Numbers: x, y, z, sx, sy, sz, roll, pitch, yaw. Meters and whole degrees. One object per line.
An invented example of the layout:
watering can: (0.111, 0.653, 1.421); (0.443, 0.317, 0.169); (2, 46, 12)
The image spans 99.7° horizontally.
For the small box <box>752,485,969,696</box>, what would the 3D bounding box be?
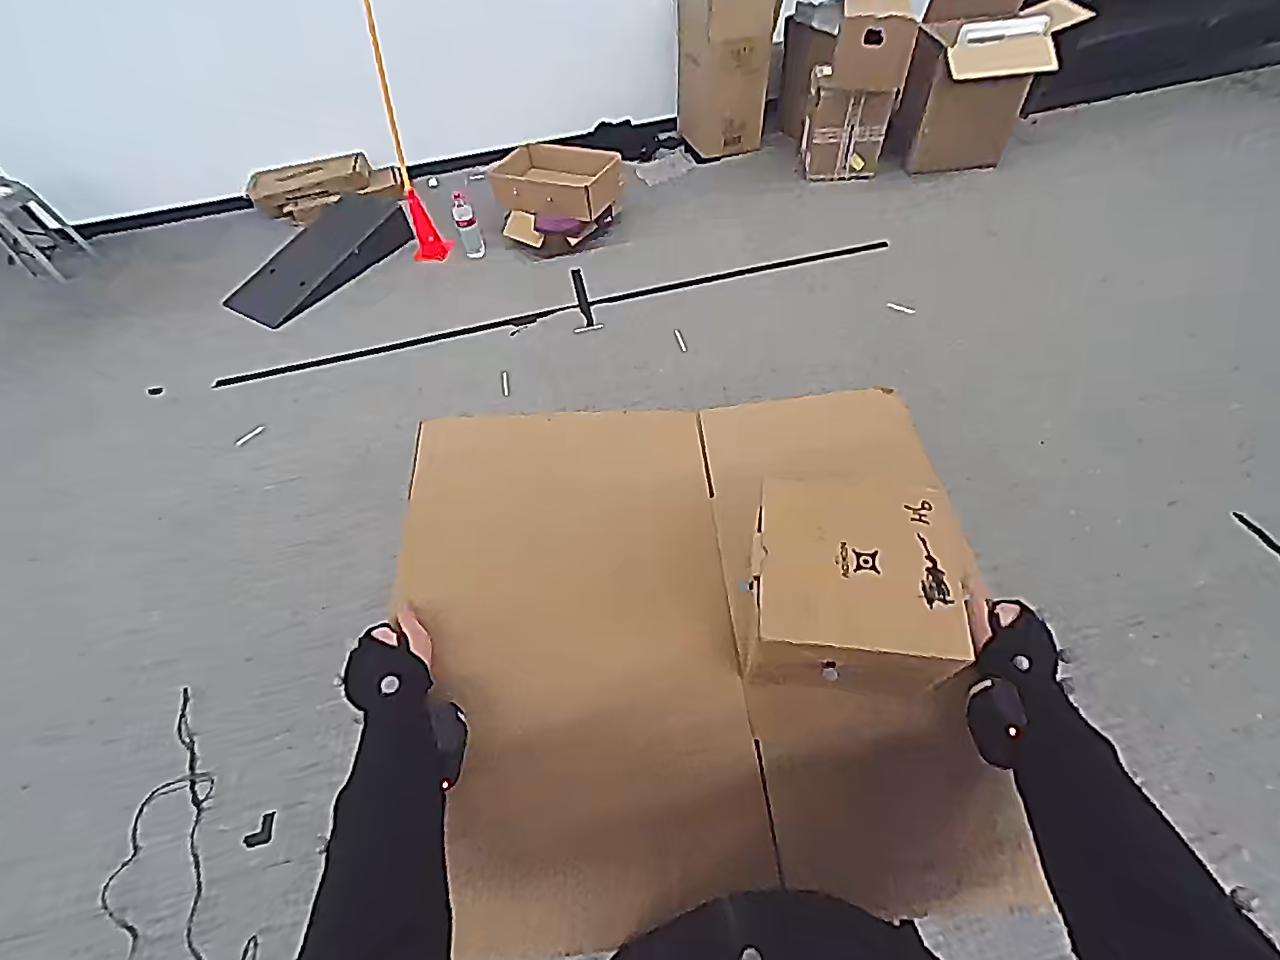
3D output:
small box: (0.211, 0.120, 0.571); (0.179, 0.176, 0.168); (3, 58, 11)
